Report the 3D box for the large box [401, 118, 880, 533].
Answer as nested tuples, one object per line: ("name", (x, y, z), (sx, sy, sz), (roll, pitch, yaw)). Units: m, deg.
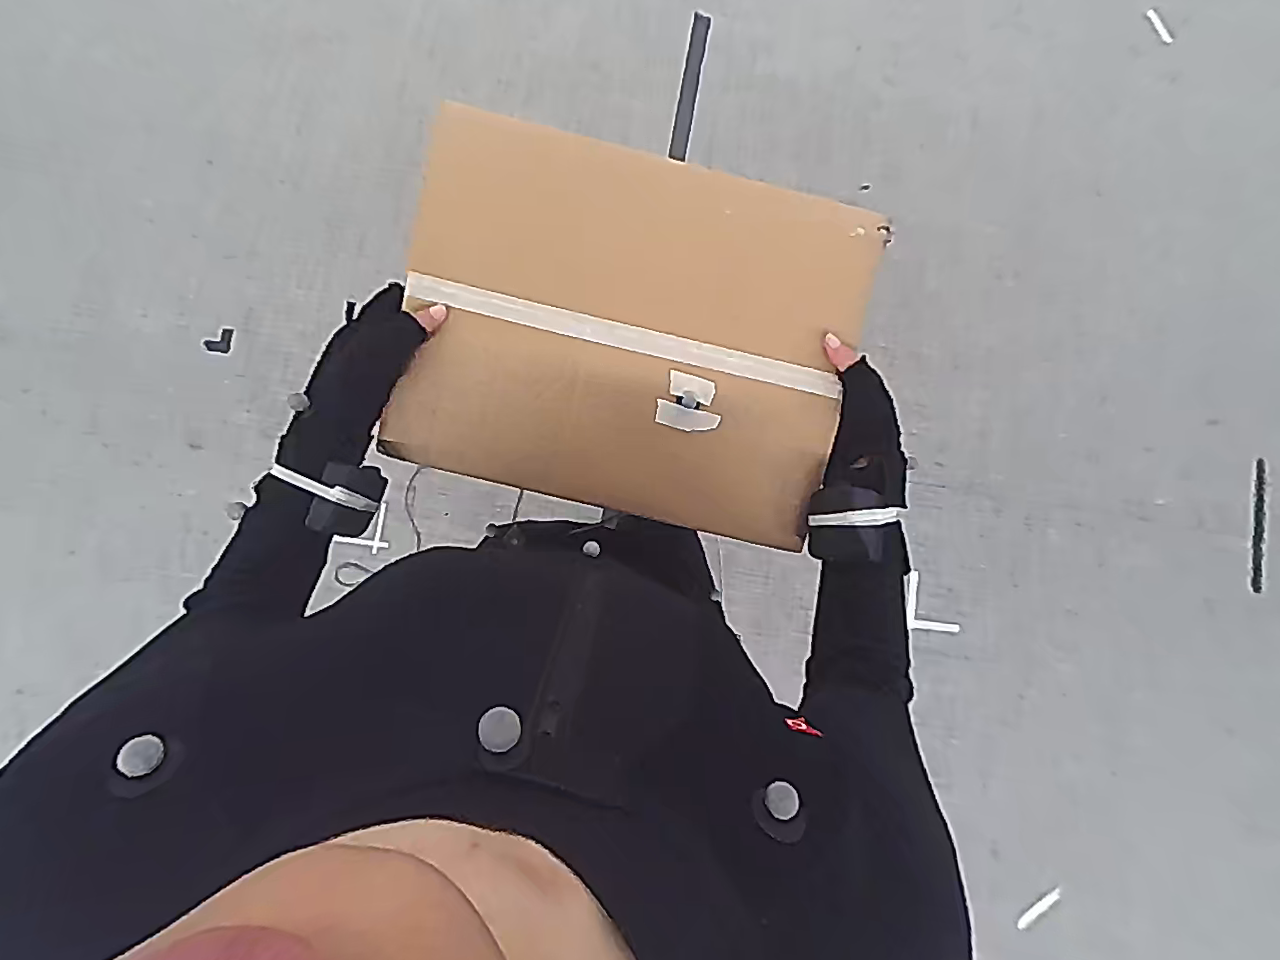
("large box", (-0.008, -0.152, 0.651), (0.408, 0.320, 0.320), (13, 97, -3))
